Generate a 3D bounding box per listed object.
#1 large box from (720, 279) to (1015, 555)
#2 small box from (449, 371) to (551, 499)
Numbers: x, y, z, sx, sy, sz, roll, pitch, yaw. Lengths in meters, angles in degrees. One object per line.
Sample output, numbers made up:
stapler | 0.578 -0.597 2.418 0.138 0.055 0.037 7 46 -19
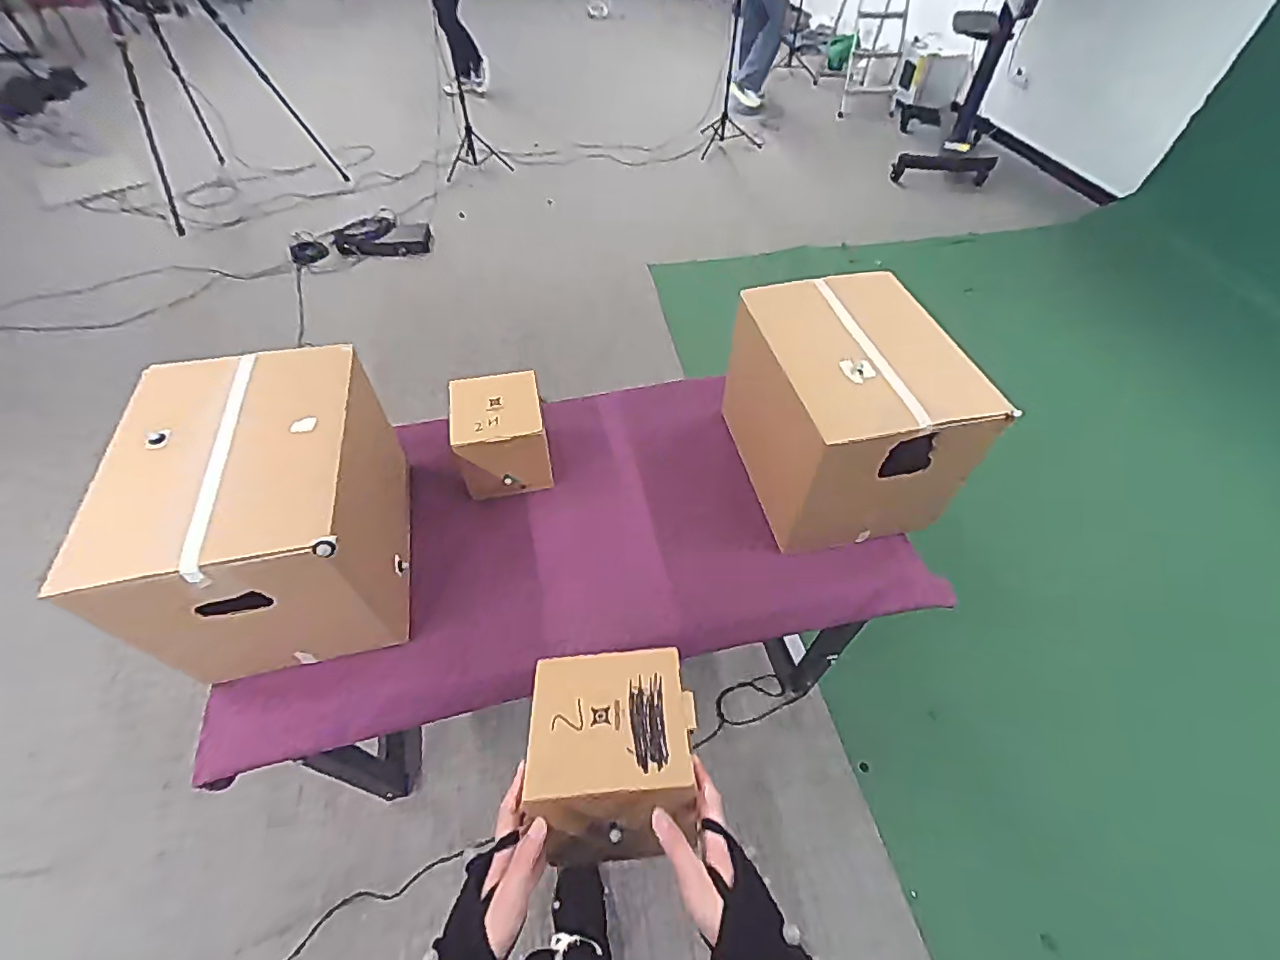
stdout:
large box | 0.372 -0.124 1.027 0.320 0.320 0.408 -10 53 -7
small box | -0.274 -0.088 1.068 0.168 0.176 0.179 -10 53 -8
